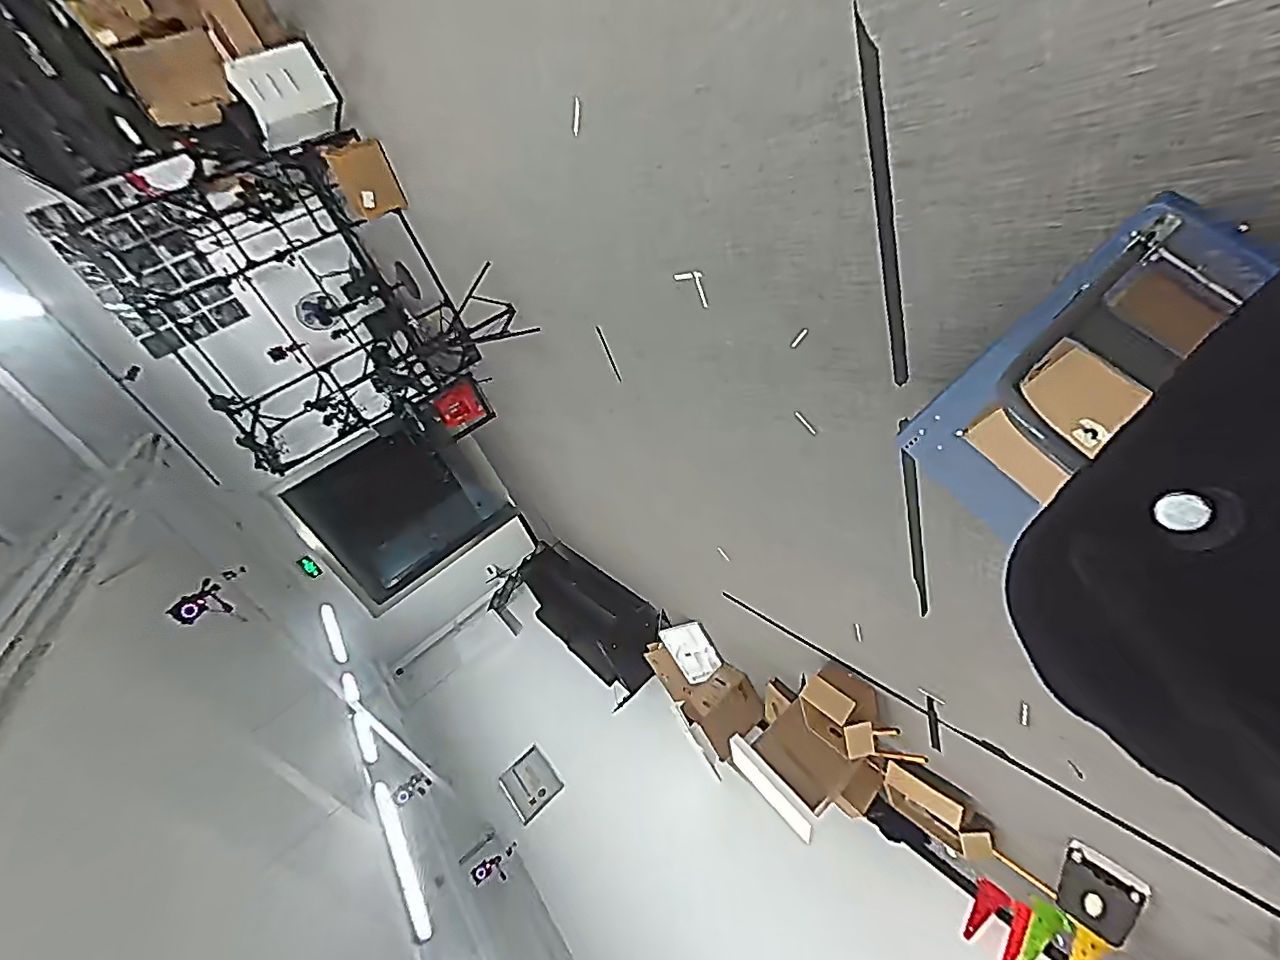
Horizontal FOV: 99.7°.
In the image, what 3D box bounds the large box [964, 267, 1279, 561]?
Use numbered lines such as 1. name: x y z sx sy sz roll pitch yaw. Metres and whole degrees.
1. large box: 0.964 -0.121 1.048 0.408 0.320 0.320 47 158 15
